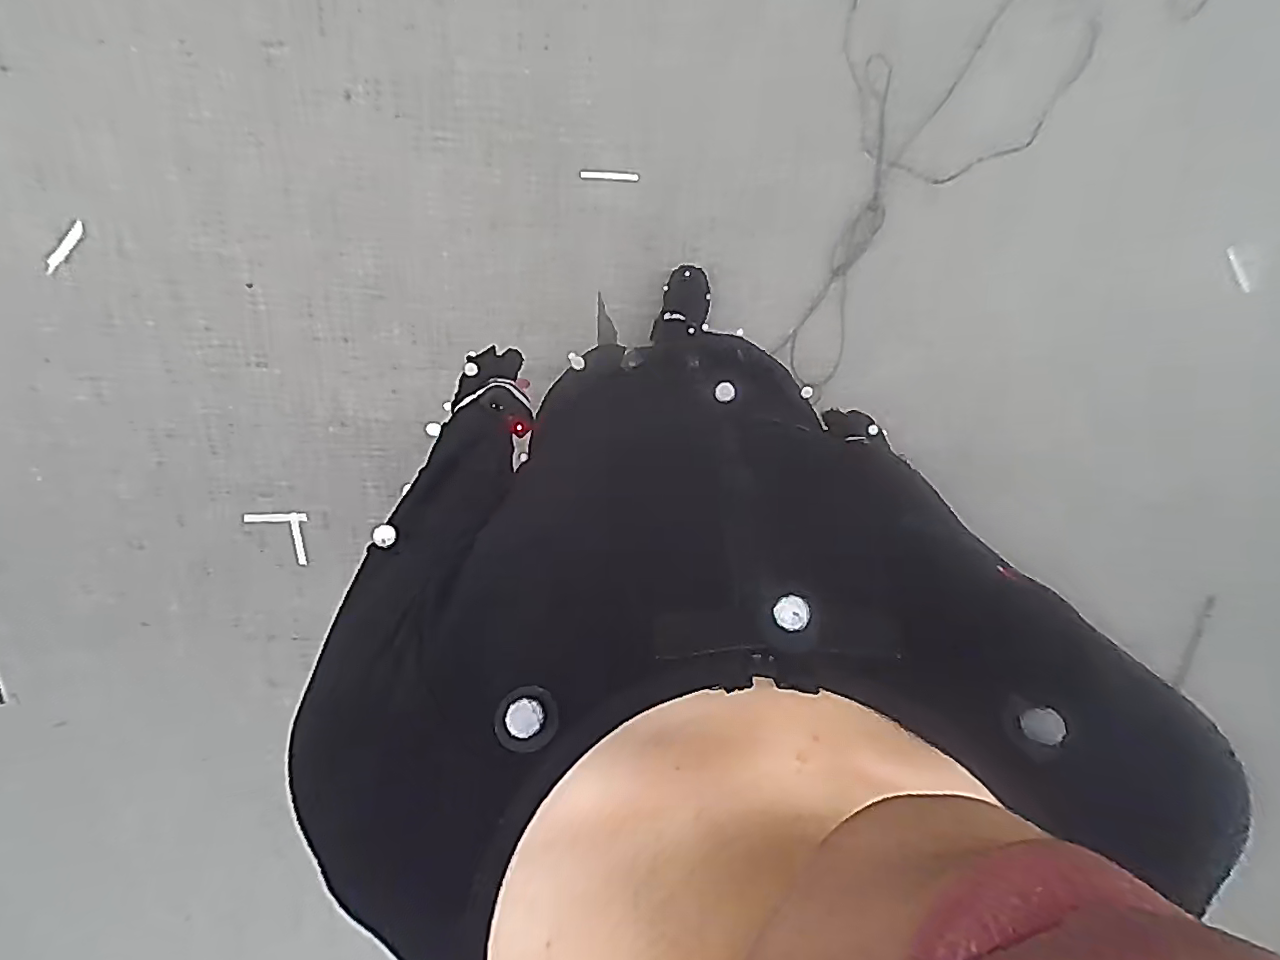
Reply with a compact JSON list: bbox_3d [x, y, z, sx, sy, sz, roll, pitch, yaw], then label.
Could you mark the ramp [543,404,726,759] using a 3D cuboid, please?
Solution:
[{"bbox_3d":[-0.021,0.294,1.493,0.509,0.206,0.991,-1,106,0],"label":"ramp"}]
